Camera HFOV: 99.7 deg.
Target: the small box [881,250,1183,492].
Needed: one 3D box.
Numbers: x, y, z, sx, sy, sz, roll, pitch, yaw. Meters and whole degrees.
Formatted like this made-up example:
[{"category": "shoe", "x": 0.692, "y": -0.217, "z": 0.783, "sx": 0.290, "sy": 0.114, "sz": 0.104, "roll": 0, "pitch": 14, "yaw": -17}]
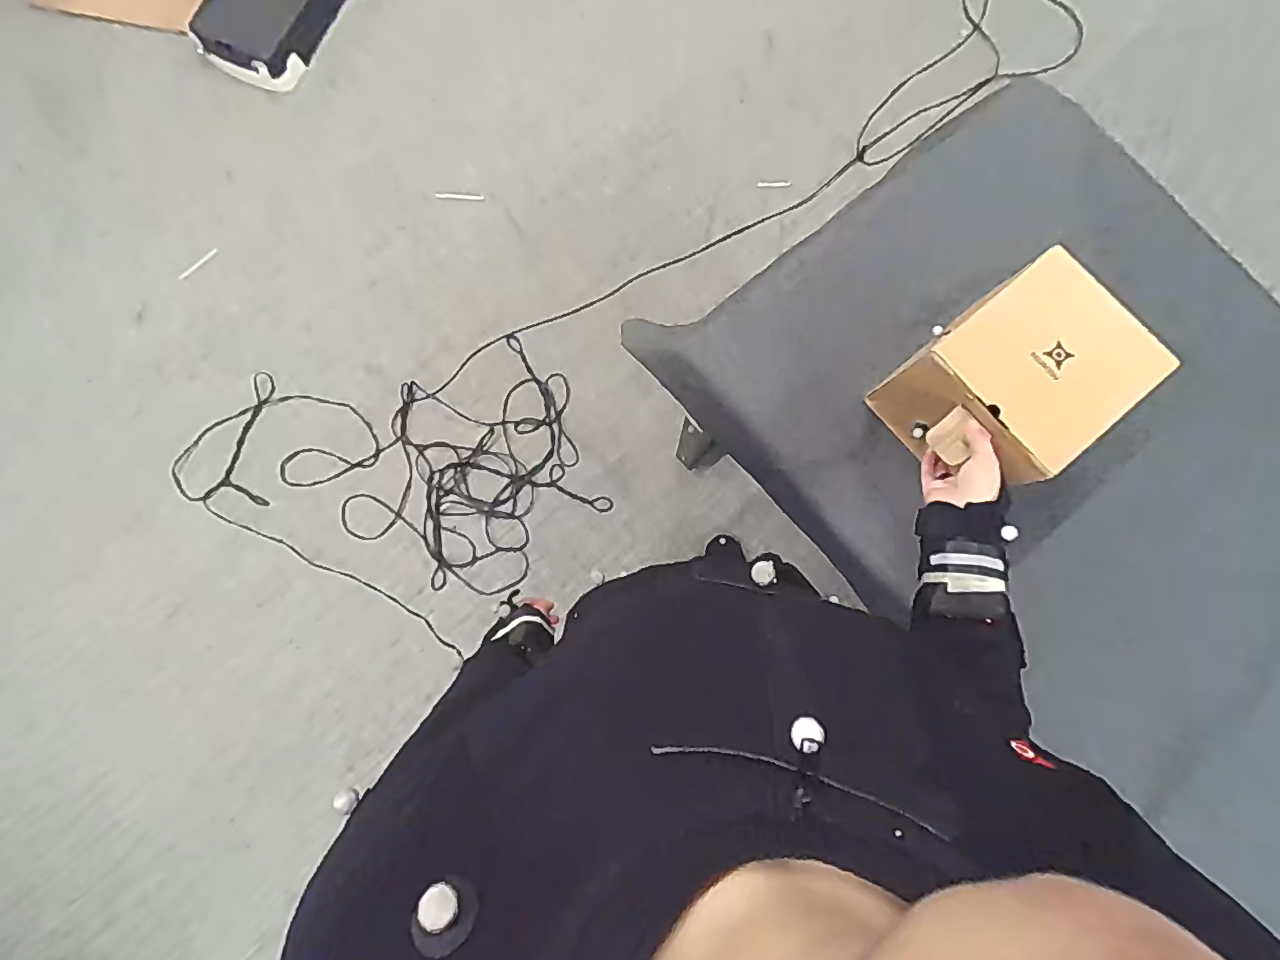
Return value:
[{"category": "small box", "x": 0.409, "y": -0.106, "z": 0.602, "sx": 0.179, "sy": 0.176, "sz": 0.168, "roll": -42, "pitch": 83, "yaw": -2}]
